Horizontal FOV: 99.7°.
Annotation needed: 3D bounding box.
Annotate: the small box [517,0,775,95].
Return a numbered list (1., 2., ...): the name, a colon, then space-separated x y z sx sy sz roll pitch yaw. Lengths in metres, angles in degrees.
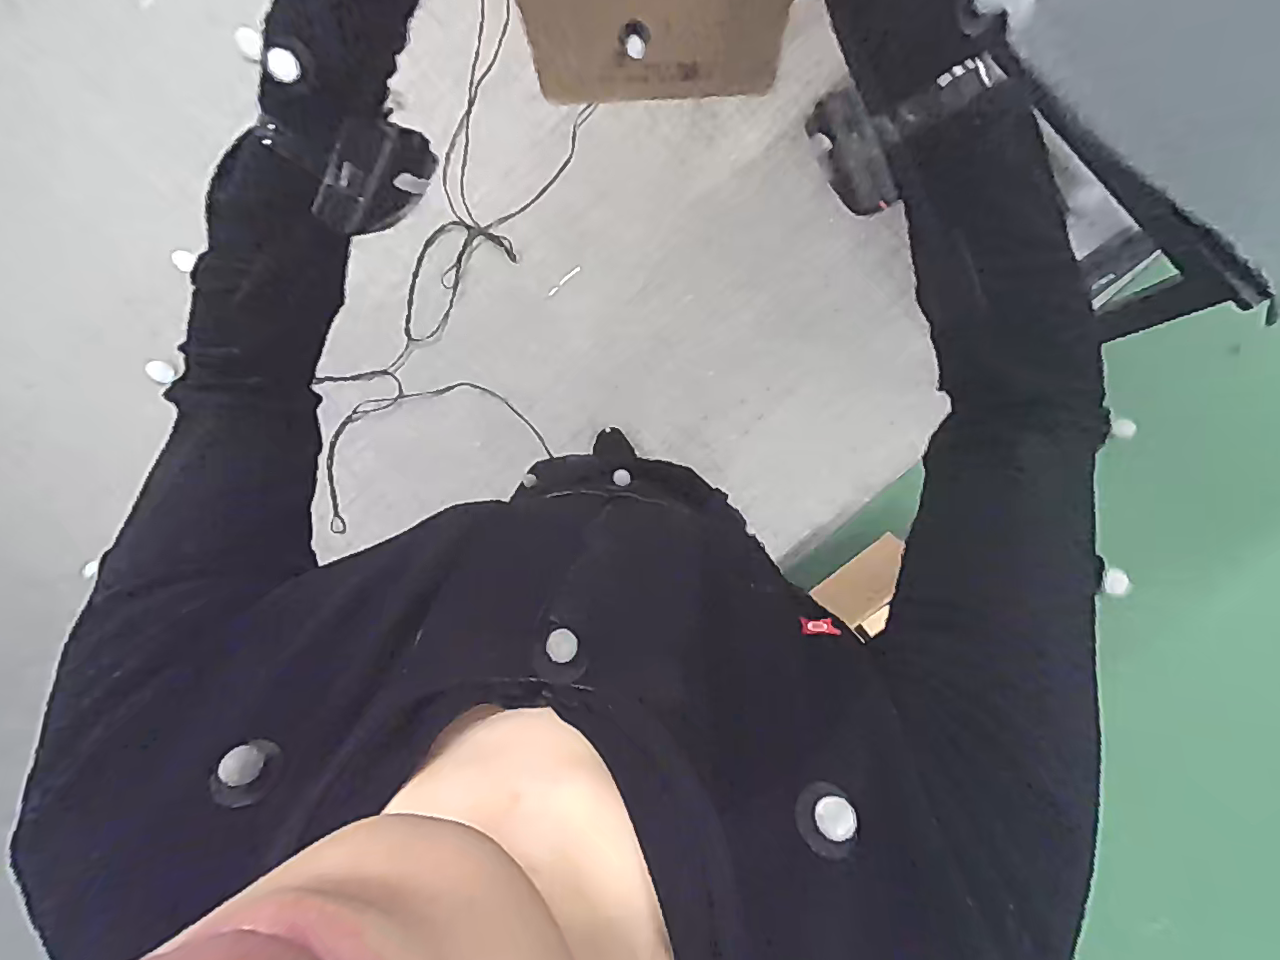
1. small box: 0.001 -0.377 0.323 0.168 0.176 0.179 -1 88 3
